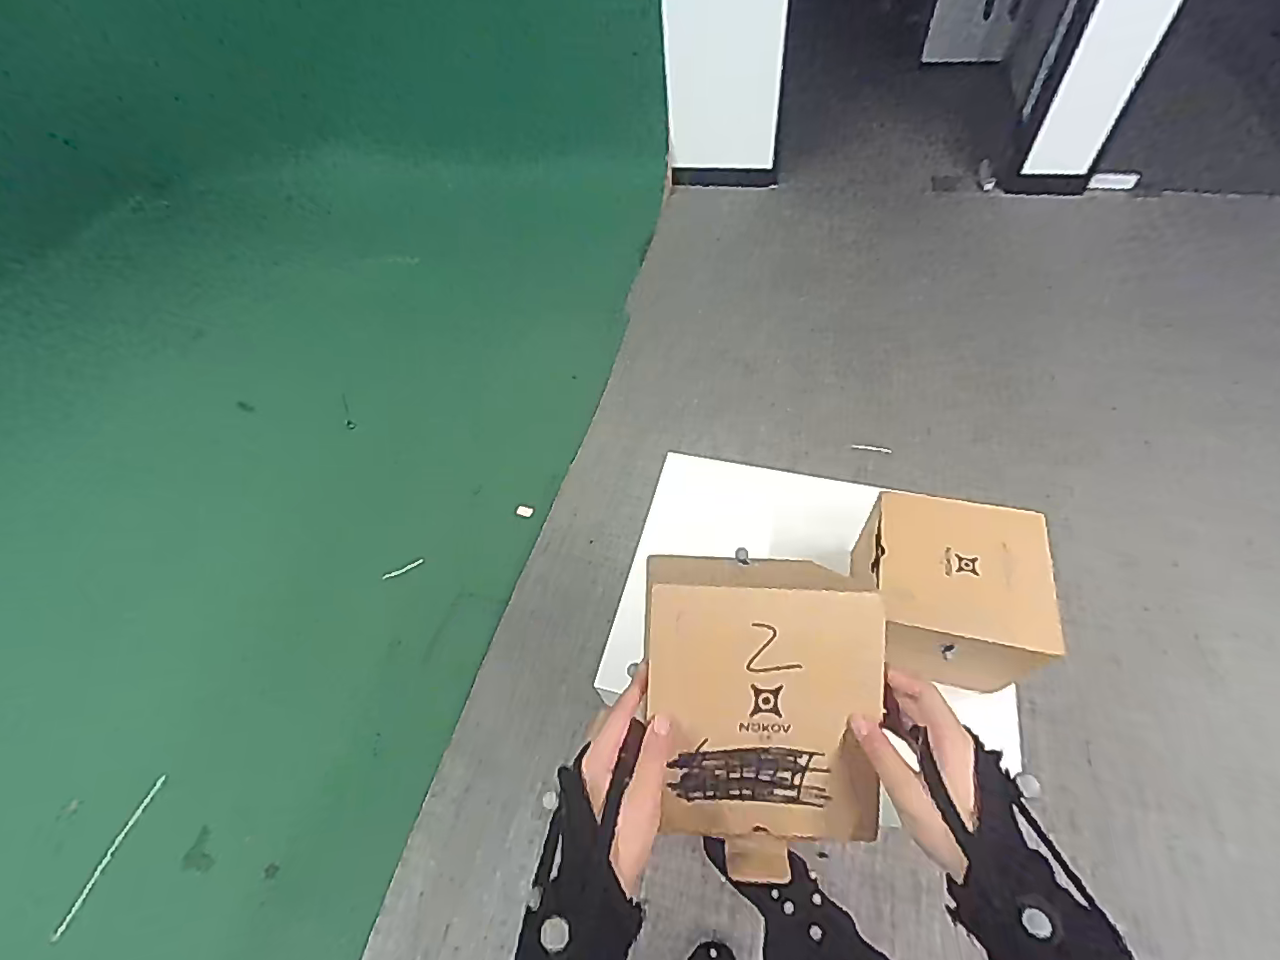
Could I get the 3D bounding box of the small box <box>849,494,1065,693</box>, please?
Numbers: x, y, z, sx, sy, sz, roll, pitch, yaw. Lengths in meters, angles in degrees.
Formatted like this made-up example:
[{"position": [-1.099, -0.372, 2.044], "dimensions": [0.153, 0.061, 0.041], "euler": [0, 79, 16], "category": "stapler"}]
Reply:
[{"position": [0.358, 0.140, 0.648], "dimensions": [0.179, 0.176, 0.168], "euler": [9, 58, 13], "category": "small box"}]
